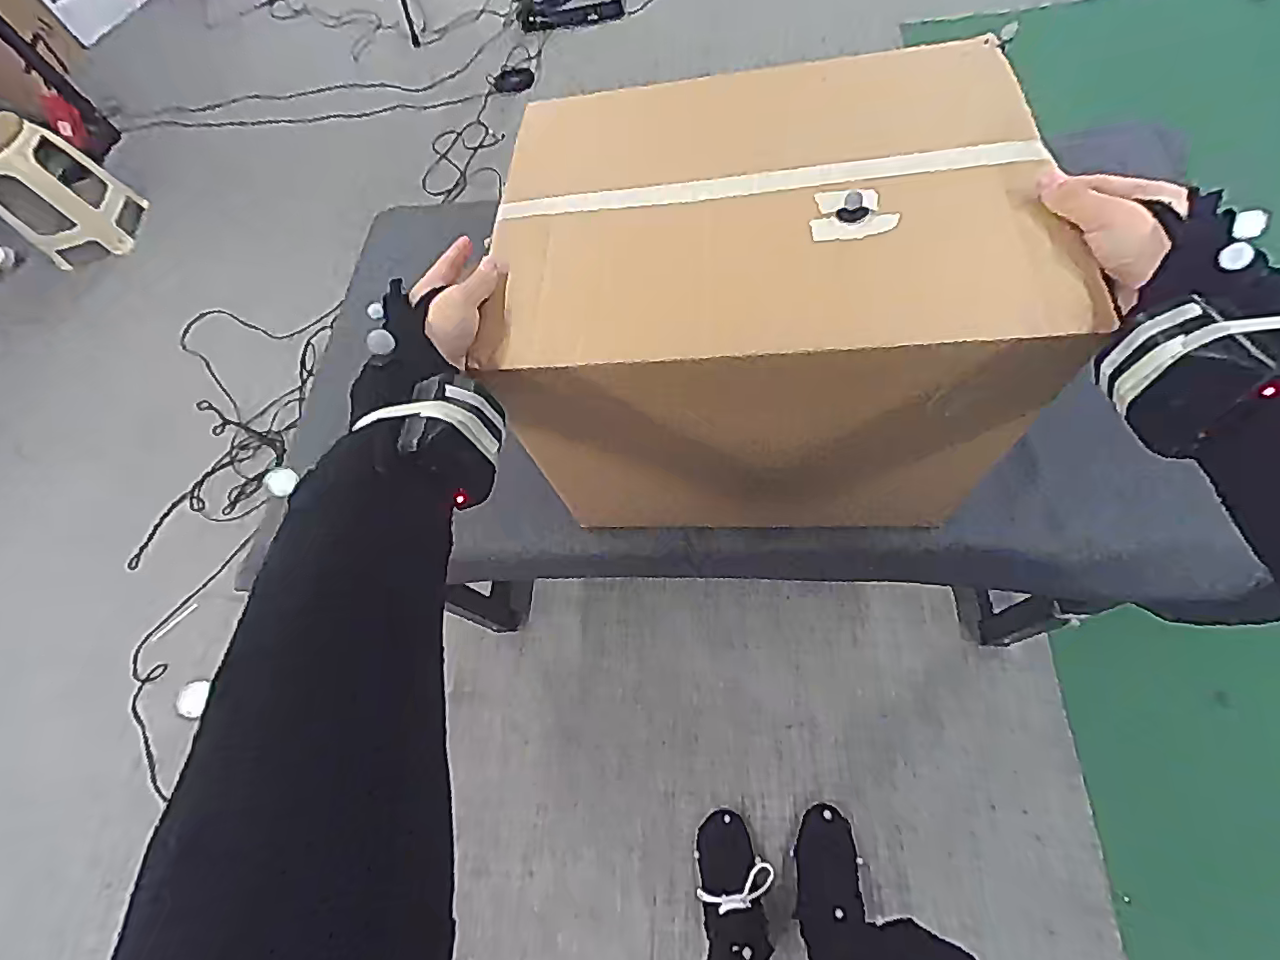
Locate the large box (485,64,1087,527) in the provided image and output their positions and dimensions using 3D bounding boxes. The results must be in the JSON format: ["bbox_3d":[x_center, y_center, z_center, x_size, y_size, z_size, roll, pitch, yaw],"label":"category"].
[{"bbox_3d":[0.108,-0.151,0.559,0.408,0.320,0.320,-1,63,9],"label":"large box"}]
